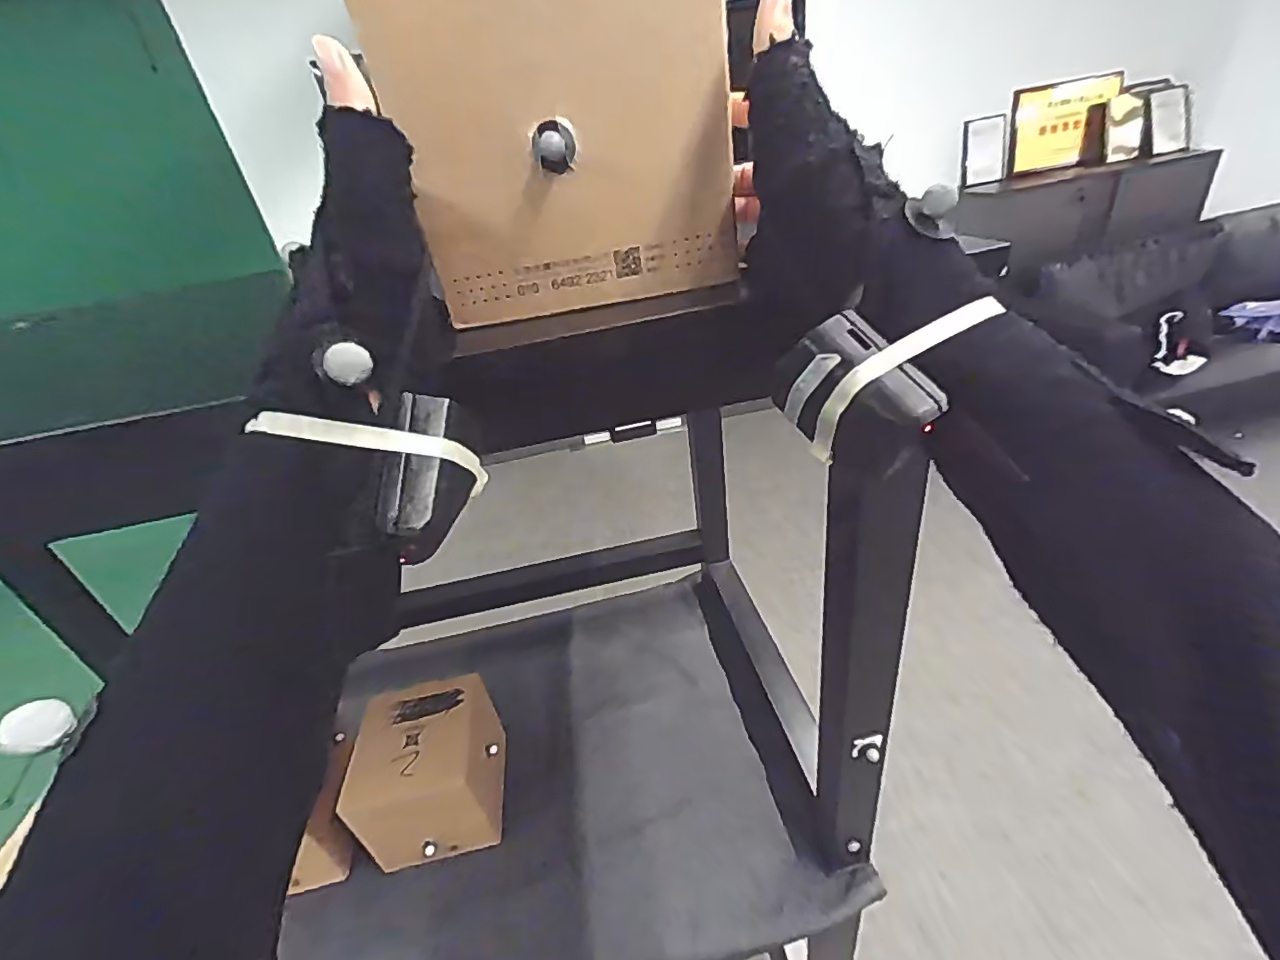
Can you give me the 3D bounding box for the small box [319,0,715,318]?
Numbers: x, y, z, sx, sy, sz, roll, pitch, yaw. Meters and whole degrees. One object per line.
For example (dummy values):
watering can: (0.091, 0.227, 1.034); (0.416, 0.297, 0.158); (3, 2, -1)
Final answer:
small box: (-0.052, -0.208, 0.336); (0.168, 0.176, 0.179); (-9, 31, 2)
